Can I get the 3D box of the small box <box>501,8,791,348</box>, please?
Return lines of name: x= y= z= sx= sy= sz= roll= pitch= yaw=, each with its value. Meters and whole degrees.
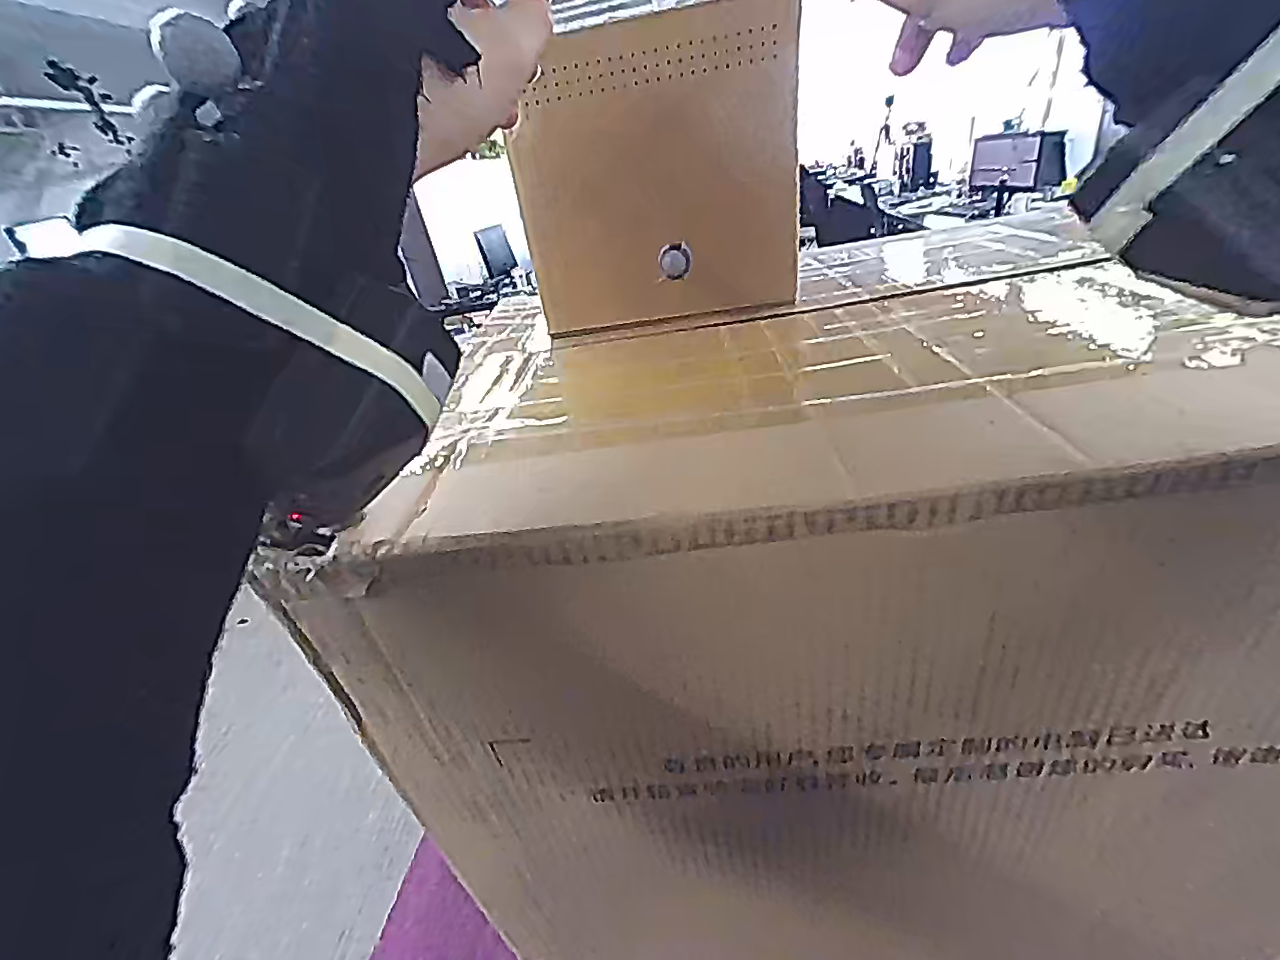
small box: x=0.010 y=-0.213 z=0.405 sx=0.179 sy=0.176 sz=0.168 roll=-6 pitch=30 yaw=8
